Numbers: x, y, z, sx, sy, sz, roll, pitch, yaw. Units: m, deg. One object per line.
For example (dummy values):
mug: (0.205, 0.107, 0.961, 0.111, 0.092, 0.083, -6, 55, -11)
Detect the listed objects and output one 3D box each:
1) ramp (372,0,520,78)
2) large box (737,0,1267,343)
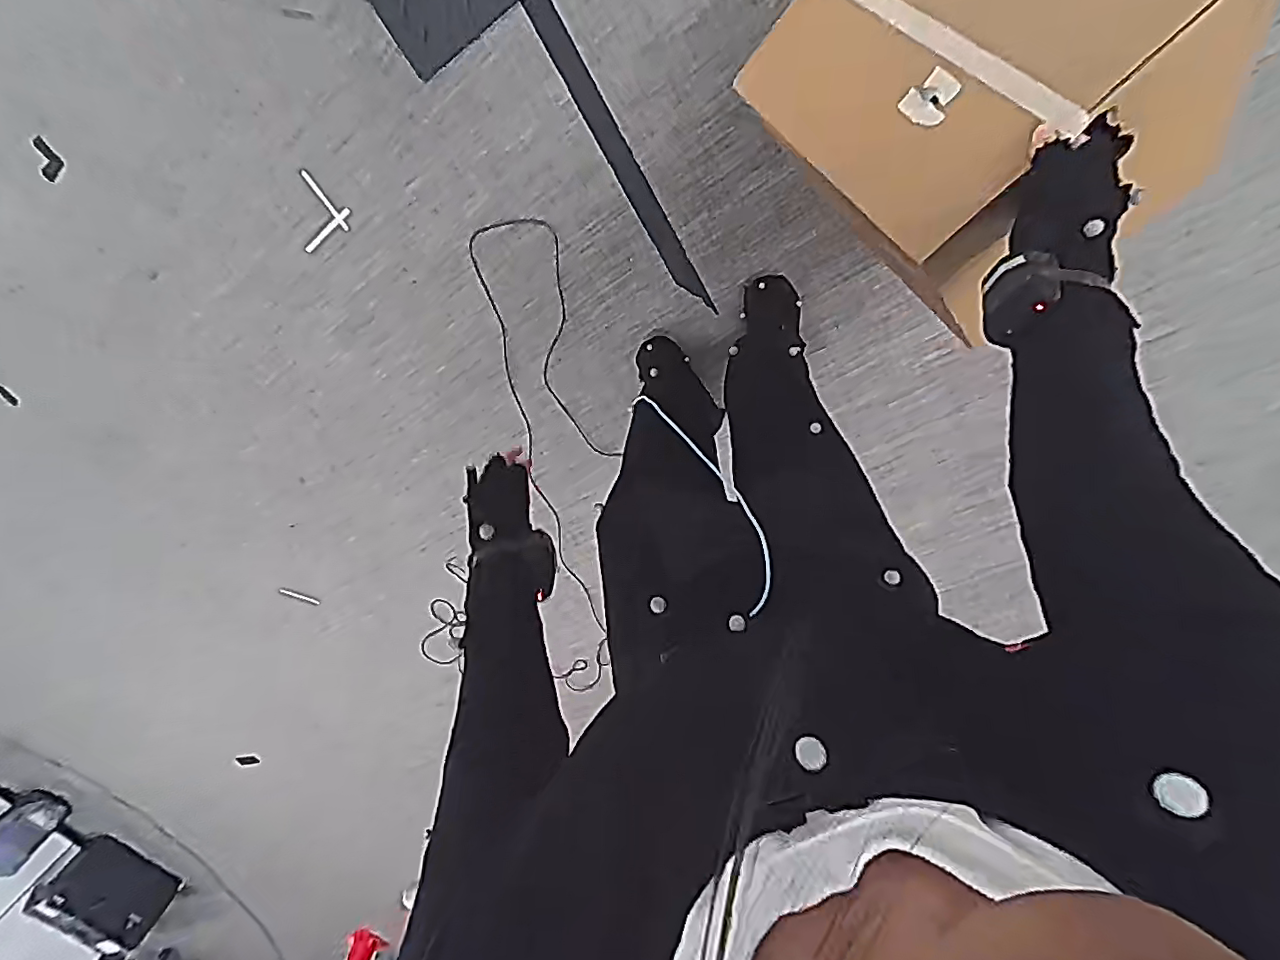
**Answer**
ramp: (-0.468, -1.225, 0.734, 0.509, 0.206, 0.991, -26, 112, 20)
large box: (0.405, -0.448, 0.681, 0.320, 0.408, 0.320, 6, 137, -48)
